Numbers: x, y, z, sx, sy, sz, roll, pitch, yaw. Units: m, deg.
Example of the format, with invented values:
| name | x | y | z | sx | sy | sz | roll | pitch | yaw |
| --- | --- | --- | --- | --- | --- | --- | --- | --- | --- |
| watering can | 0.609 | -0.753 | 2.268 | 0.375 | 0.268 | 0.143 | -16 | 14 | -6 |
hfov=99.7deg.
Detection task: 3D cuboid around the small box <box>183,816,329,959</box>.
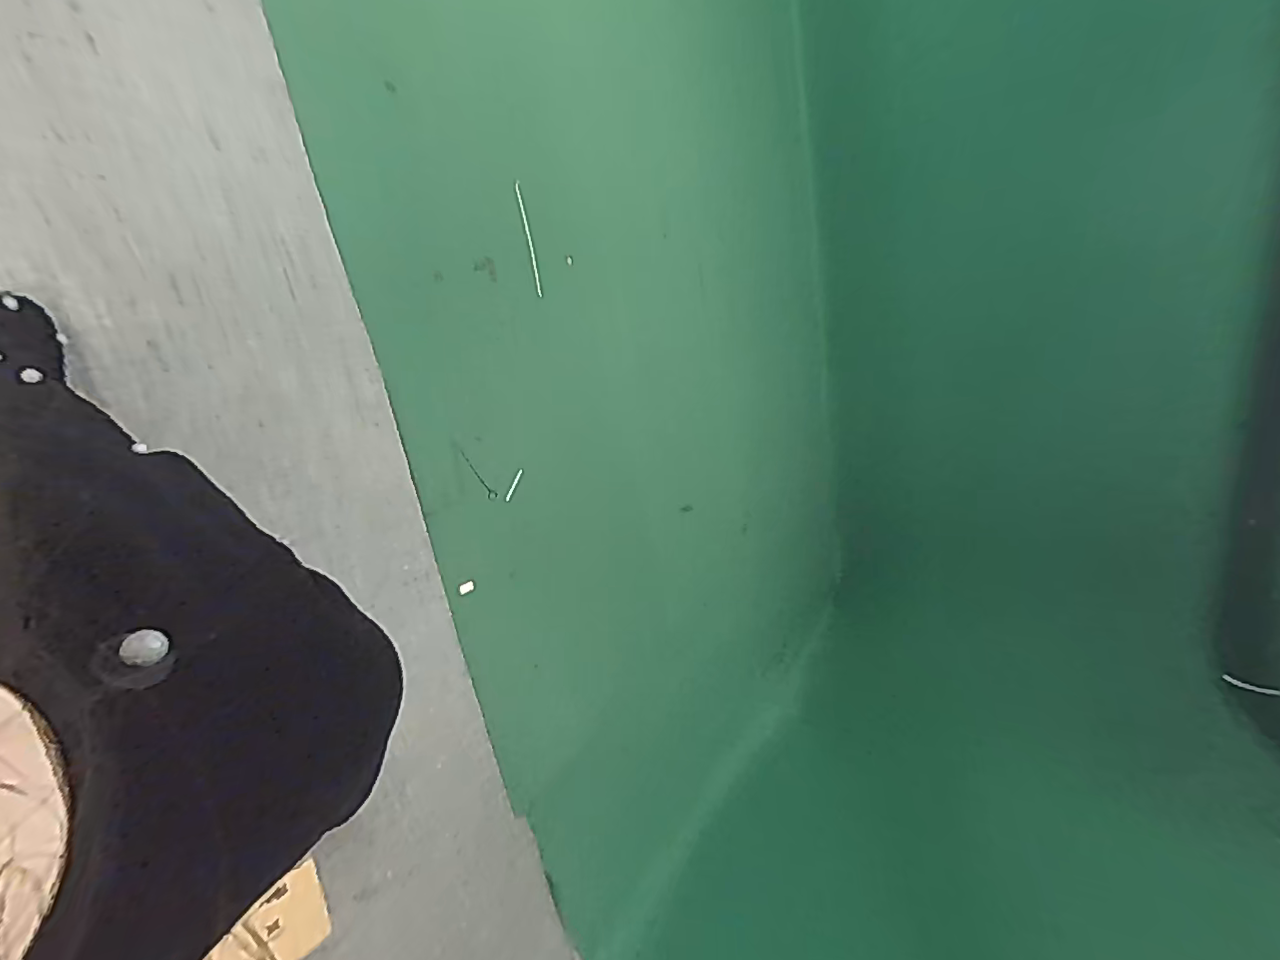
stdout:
| name | x | y | z | sx | sy | sz | roll | pitch | yaw |
| --- | --- | --- | --- | --- | --- | --- | --- | --- | --- |
| small box | -0.714 | 0.783 | 1.010 | 0.168 | 0.176 | 0.179 | -20 | 110 | -49 |
